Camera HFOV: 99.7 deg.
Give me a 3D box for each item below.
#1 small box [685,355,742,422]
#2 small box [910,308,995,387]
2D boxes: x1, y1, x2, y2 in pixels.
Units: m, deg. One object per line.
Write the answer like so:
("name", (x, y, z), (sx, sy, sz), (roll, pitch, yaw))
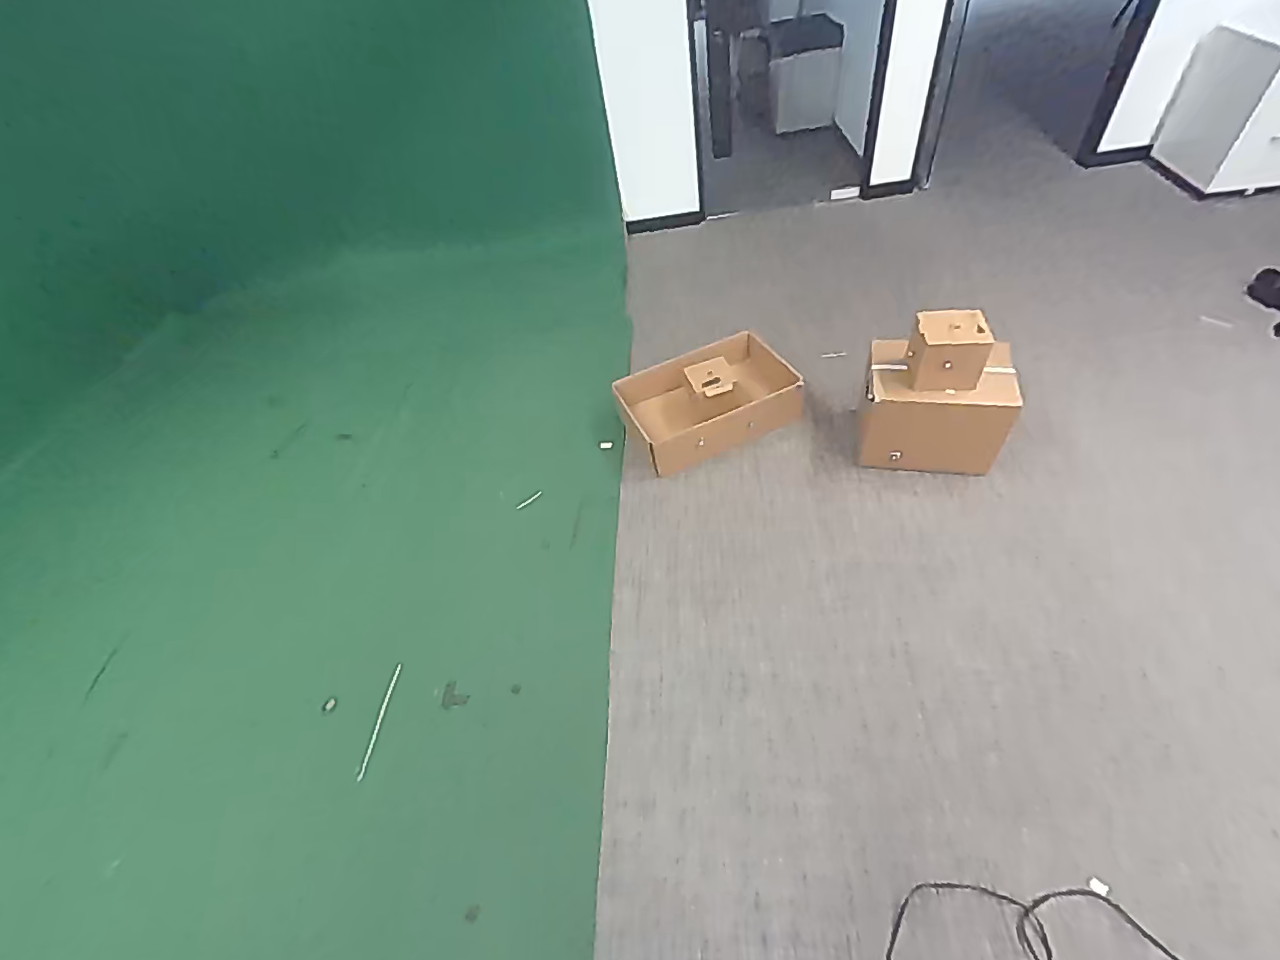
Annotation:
("small box", (0.282, -0.340, 2.049), (0.168, 0.176, 0.179), (-17, 46, -2))
("small box", (0.916, -0.389, 1.609), (0.179, 0.176, 0.168), (1, 50, 13))
